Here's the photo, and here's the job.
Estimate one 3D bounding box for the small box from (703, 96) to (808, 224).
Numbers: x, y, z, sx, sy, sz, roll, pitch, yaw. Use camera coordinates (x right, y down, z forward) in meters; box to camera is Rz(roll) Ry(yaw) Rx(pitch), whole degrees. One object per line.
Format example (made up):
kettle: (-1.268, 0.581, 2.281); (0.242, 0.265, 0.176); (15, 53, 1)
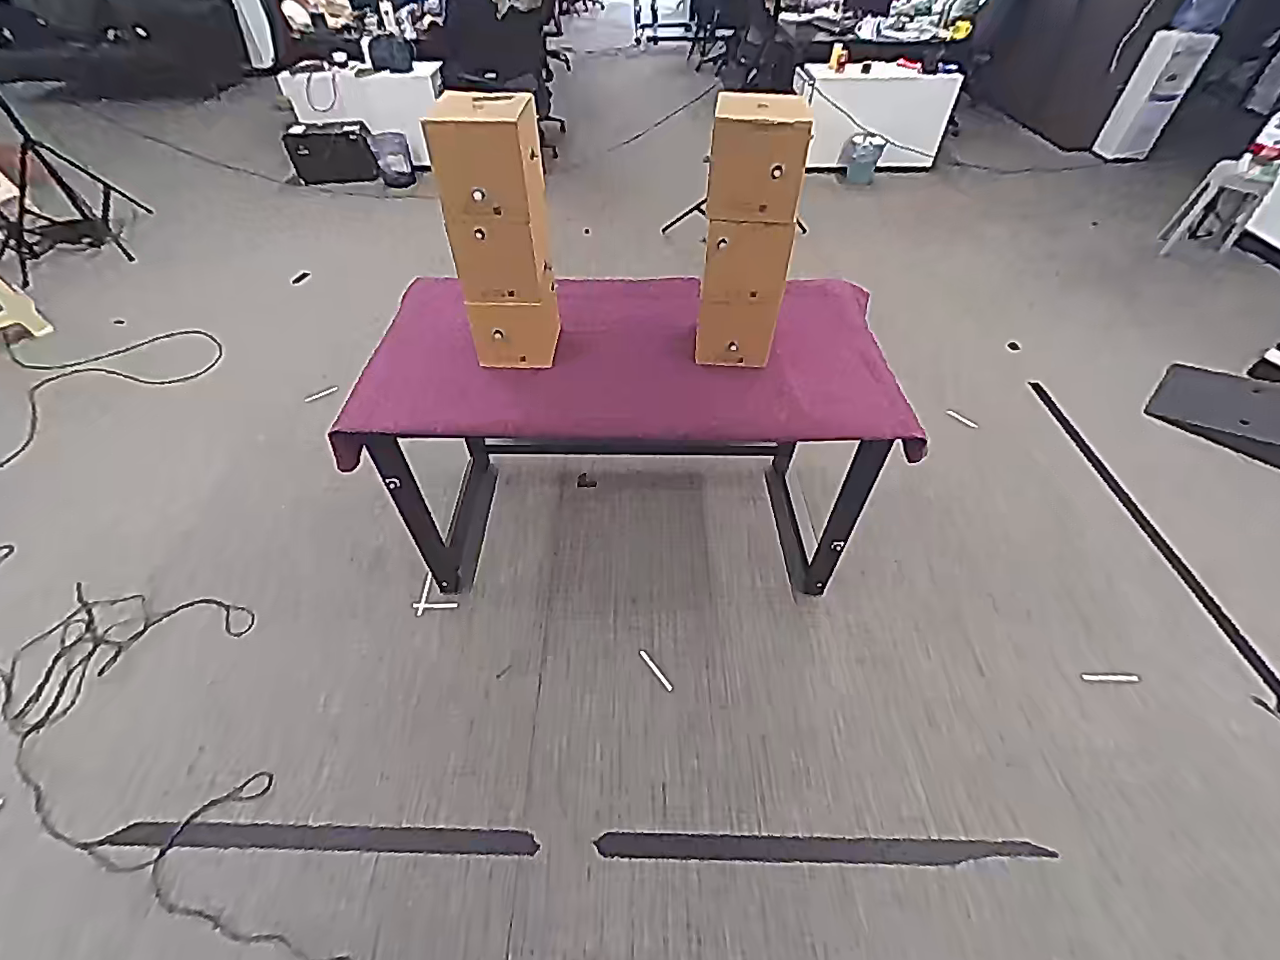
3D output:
small box: (0.210, -0.599, 1.014); (0.168, 0.176, 0.179); (6, 47, 4)

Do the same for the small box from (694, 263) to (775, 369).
small box: (0.214, -0.383, 1.260); (0.168, 0.176, 0.179); (4, 48, 4)

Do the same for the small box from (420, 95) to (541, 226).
small box: (-0.284, -0.598, 1.012); (0.168, 0.176, 0.179); (1, 48, 1)

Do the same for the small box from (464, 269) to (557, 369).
small box: (-0.289, -0.372, 1.252); (0.168, 0.176, 0.179); (1, 47, 1)

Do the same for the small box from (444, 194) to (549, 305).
small box: (-0.289, -0.488, 1.135); (0.168, 0.176, 0.179); (0, 47, 0)
